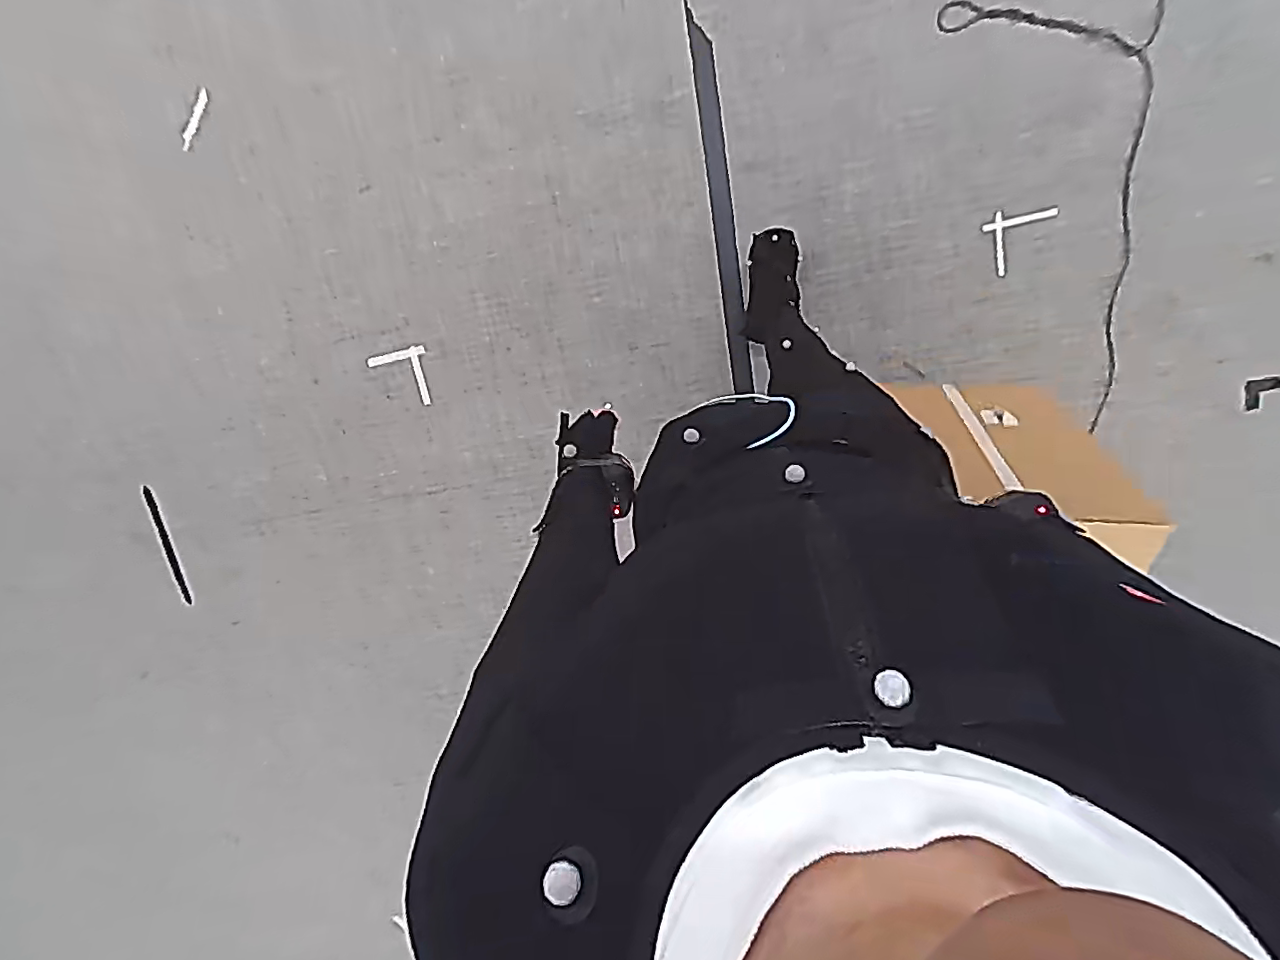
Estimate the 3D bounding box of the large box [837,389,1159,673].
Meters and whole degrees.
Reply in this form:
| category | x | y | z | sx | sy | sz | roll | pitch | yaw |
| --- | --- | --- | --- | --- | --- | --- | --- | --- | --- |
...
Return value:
| category | x | y | z | sx | sy | sz | roll | pitch | yaw |
| --- | --- | --- | --- | --- | --- | --- | --- | --- | --- |
| large box | 0.538 | 0.067 | 0.931 | 0.320 | 0.408 | 0.320 | 2 | 122 | 11 |
